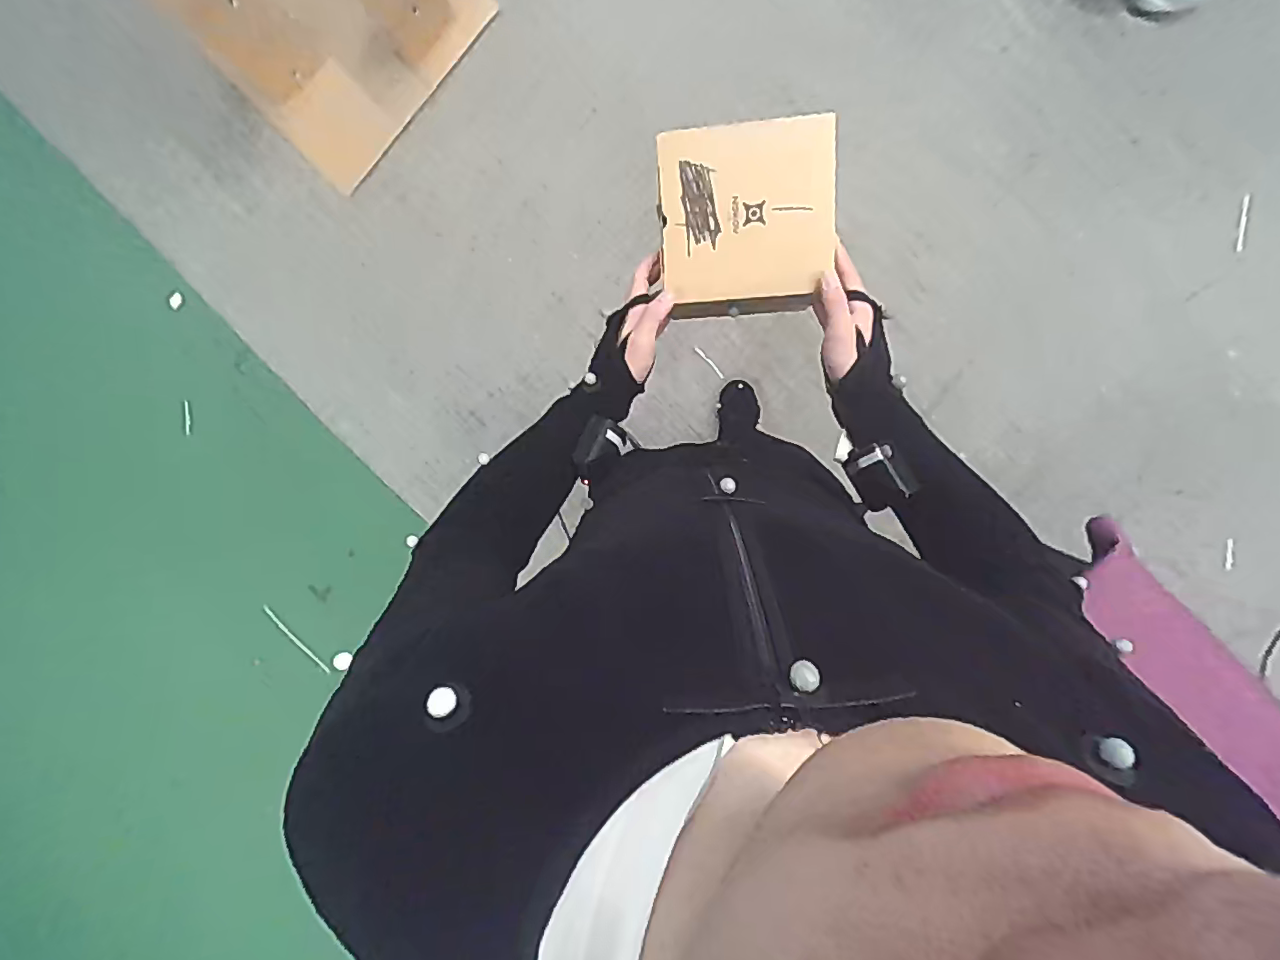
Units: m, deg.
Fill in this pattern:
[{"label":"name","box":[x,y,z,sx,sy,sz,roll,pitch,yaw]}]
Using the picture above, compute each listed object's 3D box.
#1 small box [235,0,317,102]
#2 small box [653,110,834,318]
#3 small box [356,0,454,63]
[{"label":"small box","box":[-1.026,-1.198,1.478,0.179,0.176,0.168,-35,93,9]},{"label":"small box","box":[0.113,-0.284,0.618,0.179,0.176,0.168,-3,100,6]},{"label":"small box","box":[-0.631,-1.269,1.430,0.179,0.176,0.168,-42,93,10]}]
